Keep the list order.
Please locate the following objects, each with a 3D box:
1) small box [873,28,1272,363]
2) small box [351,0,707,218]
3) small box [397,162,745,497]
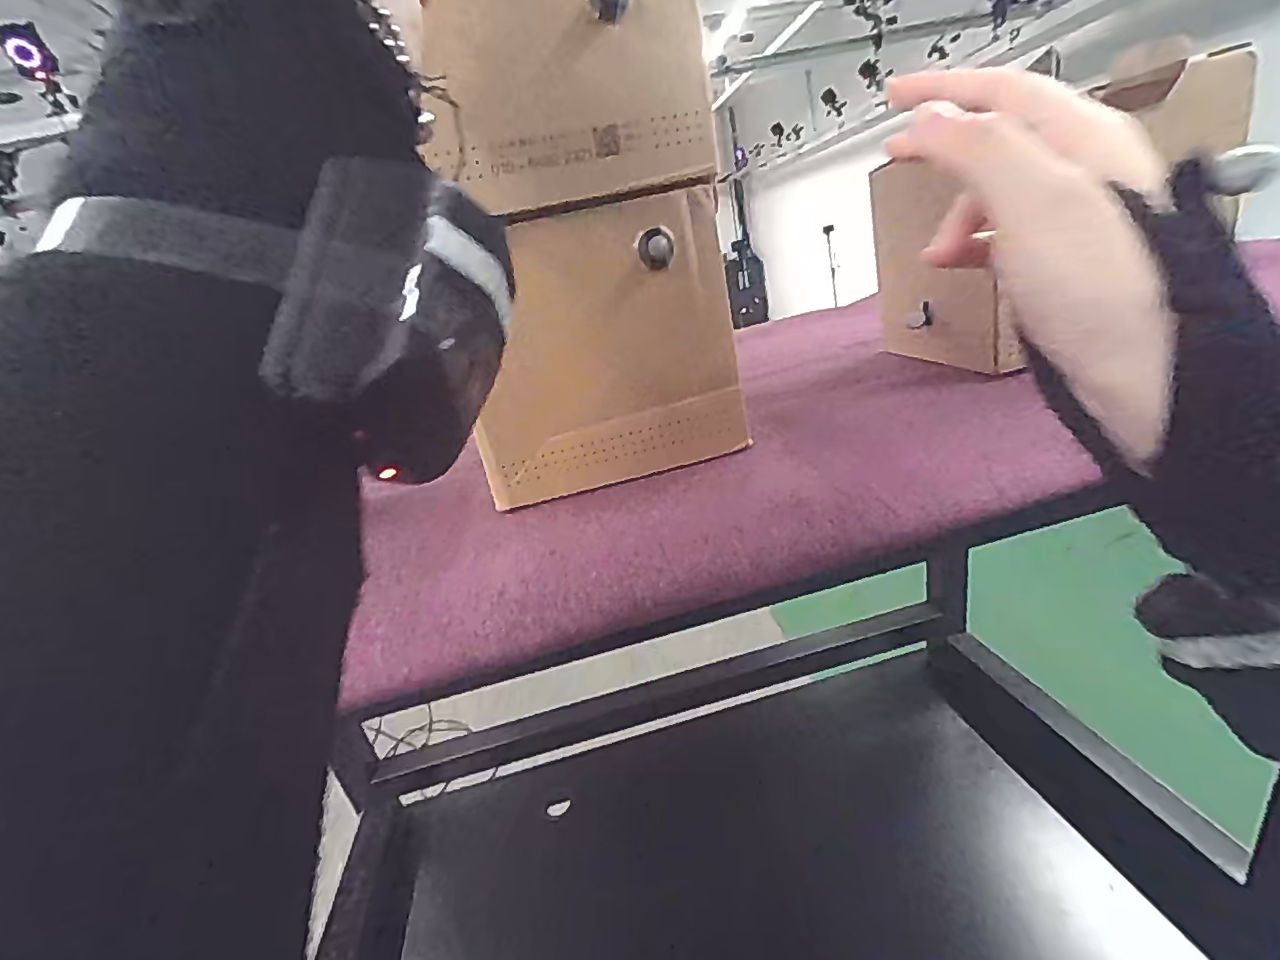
[{"bbox_3d":[0.307,-0.197,0.423,0.168,0.176,0.179,-13,20,2],"label":"small box"},{"bbox_3d":[-0.067,-0.251,0.335,0.168,0.176,0.179,-14,19,-8],"label":"small box"},{"bbox_3d":[-0.040,-0.101,0.390,0.179,0.176,0.168,-14,20,-5],"label":"small box"}]
